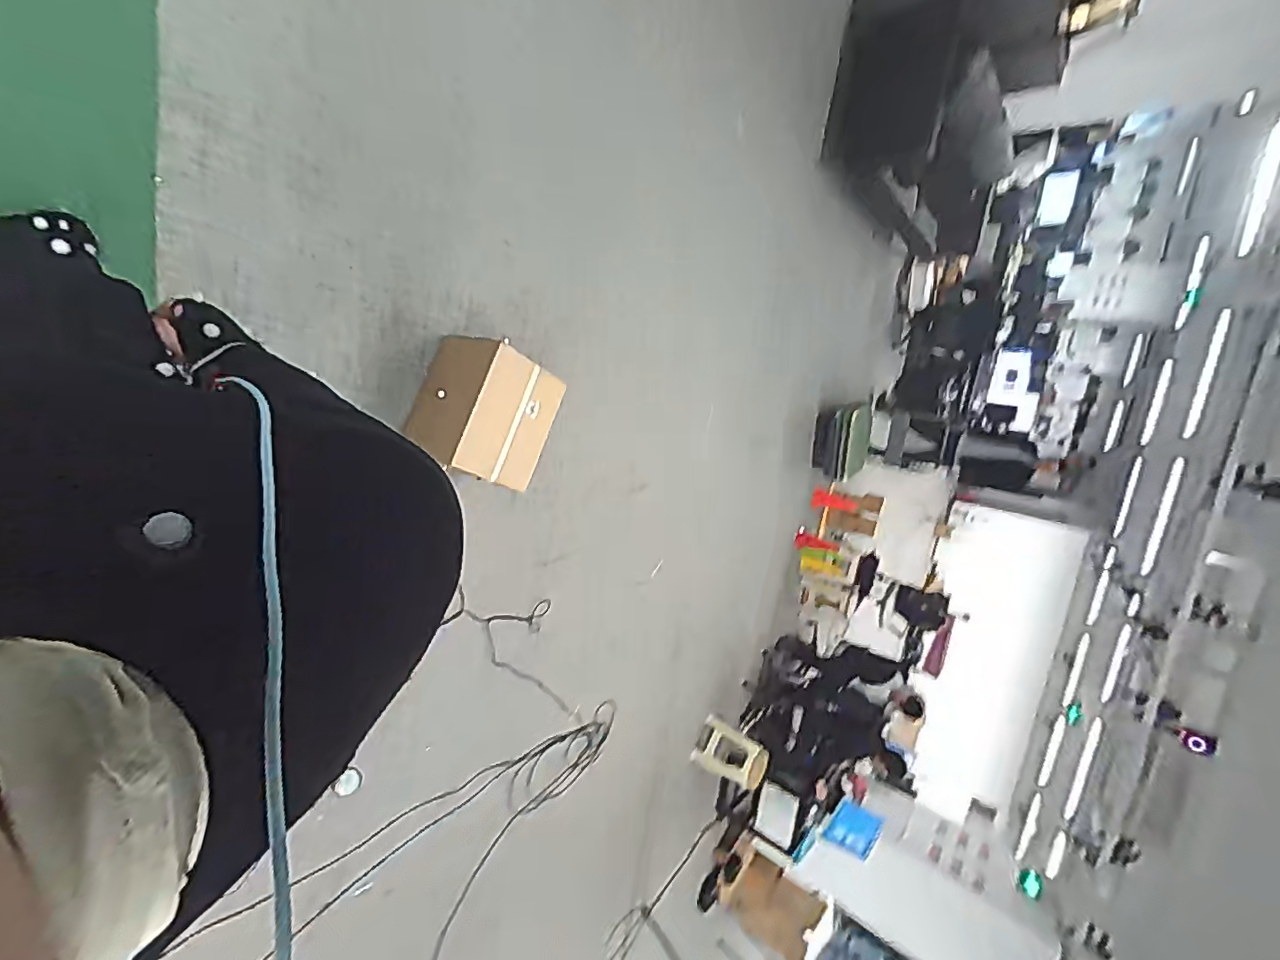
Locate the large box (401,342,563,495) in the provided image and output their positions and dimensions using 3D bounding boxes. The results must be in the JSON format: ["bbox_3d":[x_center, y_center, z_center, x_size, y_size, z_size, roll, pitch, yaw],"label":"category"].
[{"bbox_3d":[-0.518,-0.202,1.784,0.320,0.320,0.408,28,78,-53],"label":"large box"}]
